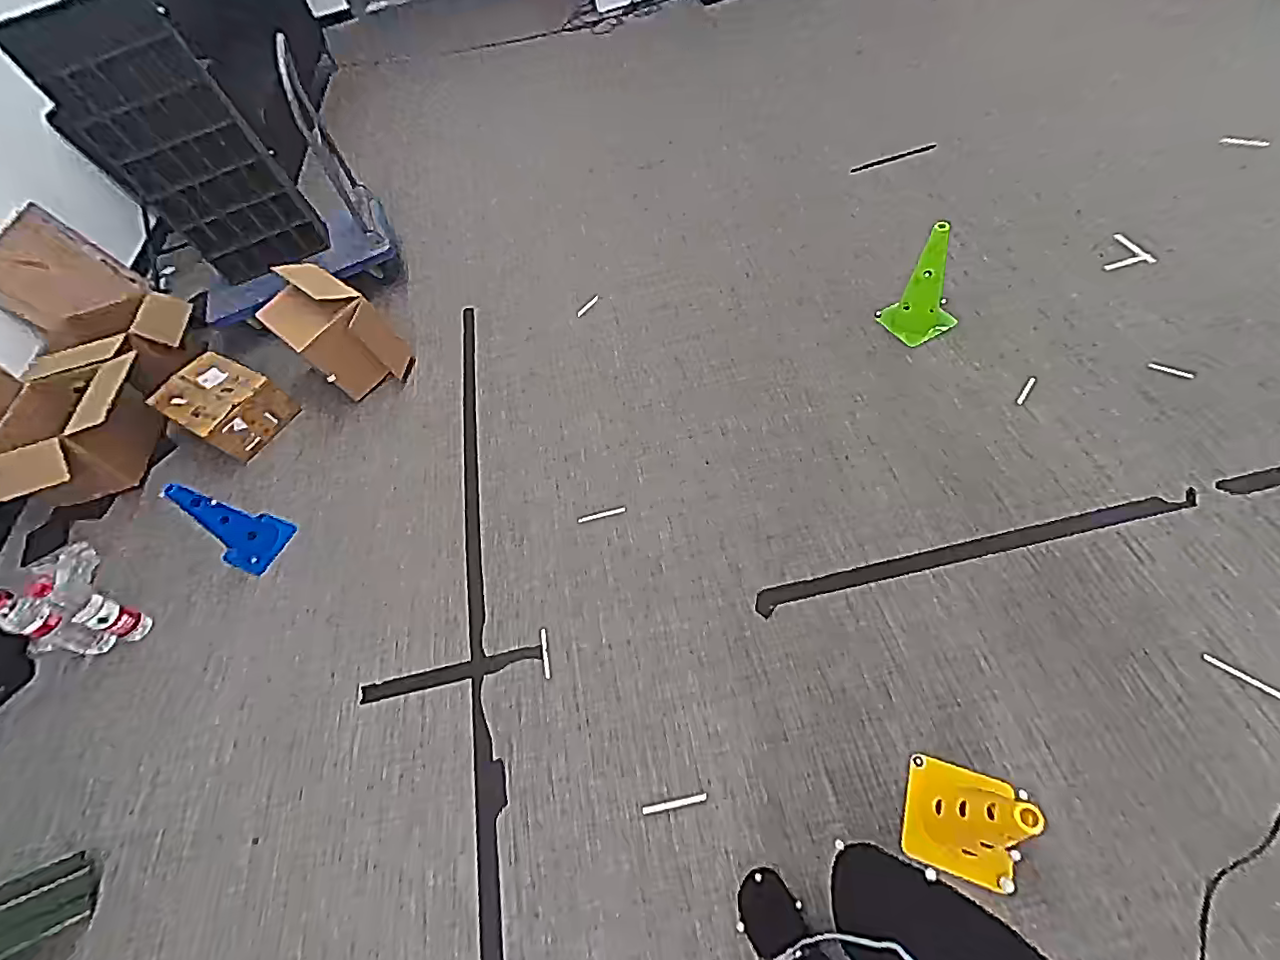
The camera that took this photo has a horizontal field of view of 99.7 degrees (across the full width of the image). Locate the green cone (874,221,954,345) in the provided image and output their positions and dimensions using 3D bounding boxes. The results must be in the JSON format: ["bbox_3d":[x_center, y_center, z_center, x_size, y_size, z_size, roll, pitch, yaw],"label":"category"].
[{"bbox_3d":[0.922,-0.653,1.740,0.202,0.368,0.200,-28,56,-7],"label":"green cone"}]
